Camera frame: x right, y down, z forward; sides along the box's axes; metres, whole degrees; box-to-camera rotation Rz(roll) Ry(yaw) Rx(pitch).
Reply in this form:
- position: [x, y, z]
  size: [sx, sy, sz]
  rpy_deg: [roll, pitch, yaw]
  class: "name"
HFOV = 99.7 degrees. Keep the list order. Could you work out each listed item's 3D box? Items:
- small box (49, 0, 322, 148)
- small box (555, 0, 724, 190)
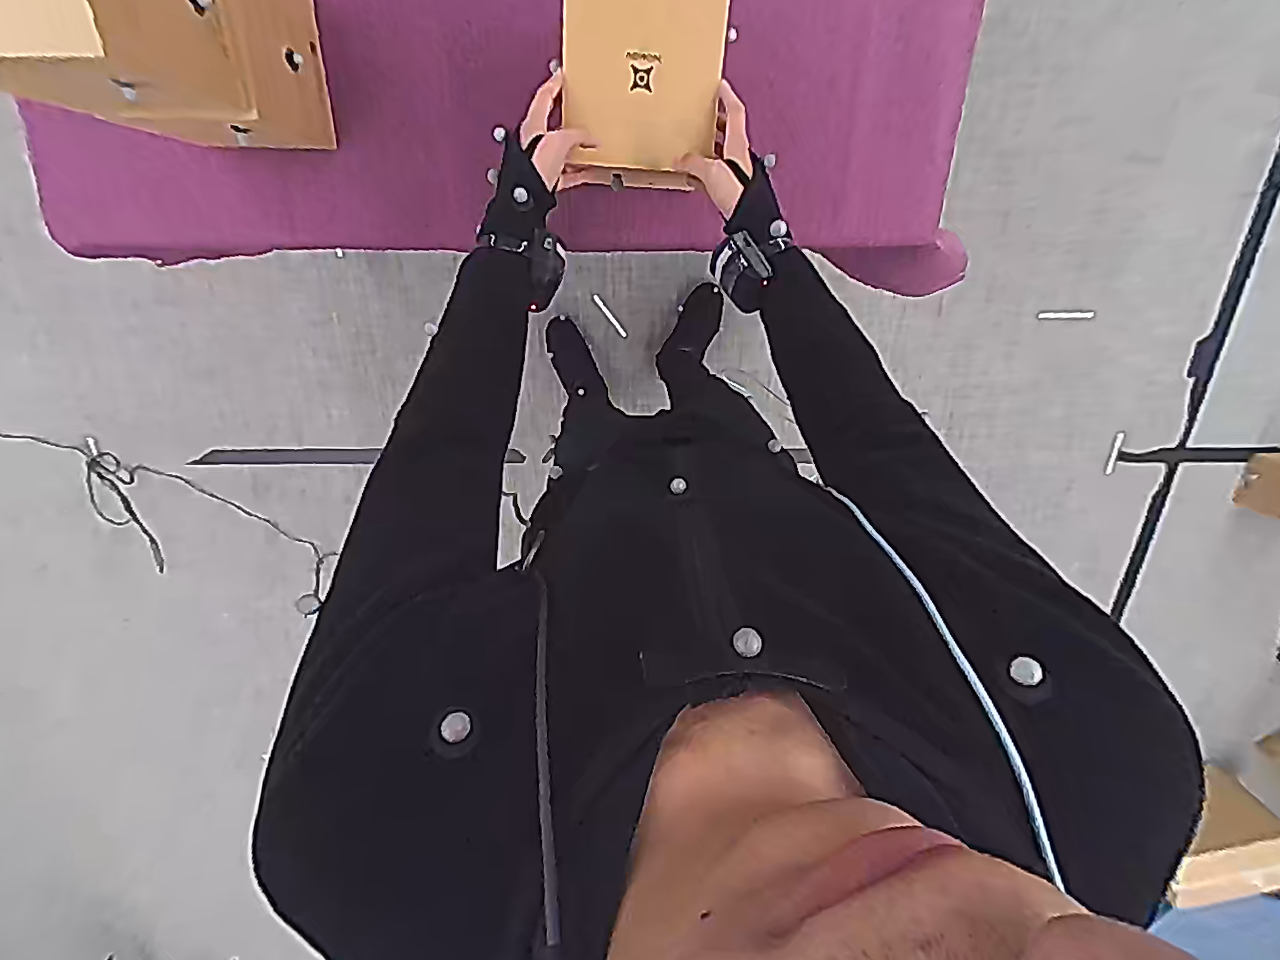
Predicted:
- position: [-0.485, -0.481, 0.602]
  size: [0.179, 0.176, 0.168]
  rpy_deg: [1, 112, -1]
  class: "small box"
- position: [-0.004, -0.444, 0.622]
  size: [0.168, 0.176, 0.179]
  rpy_deg: [3, 111, -2]
  class: "small box"
